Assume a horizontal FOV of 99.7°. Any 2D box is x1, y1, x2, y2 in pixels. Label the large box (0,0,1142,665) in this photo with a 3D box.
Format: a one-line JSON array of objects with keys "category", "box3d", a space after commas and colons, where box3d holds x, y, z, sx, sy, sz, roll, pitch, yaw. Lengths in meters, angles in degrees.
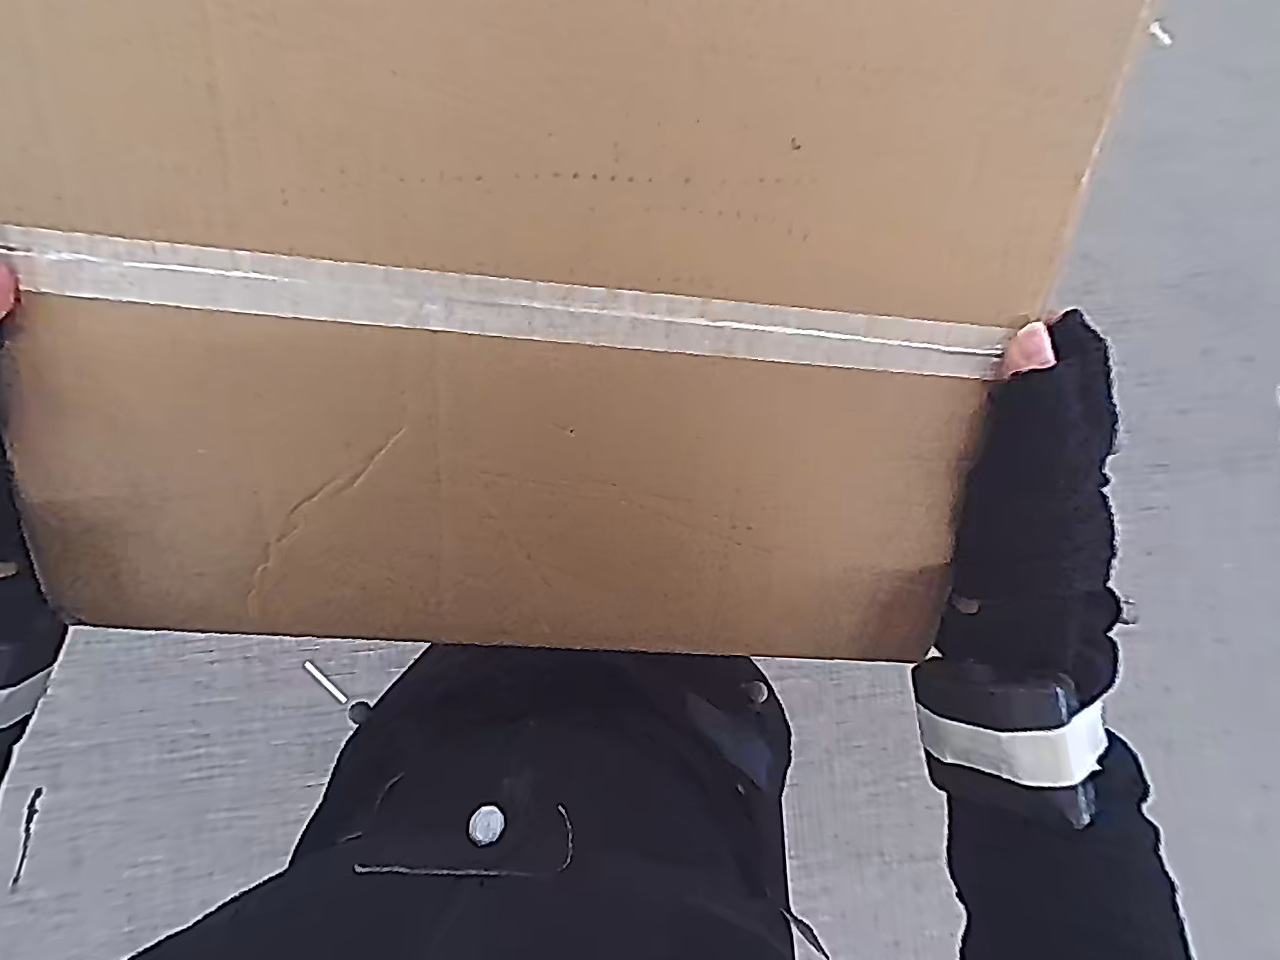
[{"category": "large box", "box3d": [-0.047, -0.109, 0.353, 0.408, 0.320, 0.320, 4, 111, -6]}]
